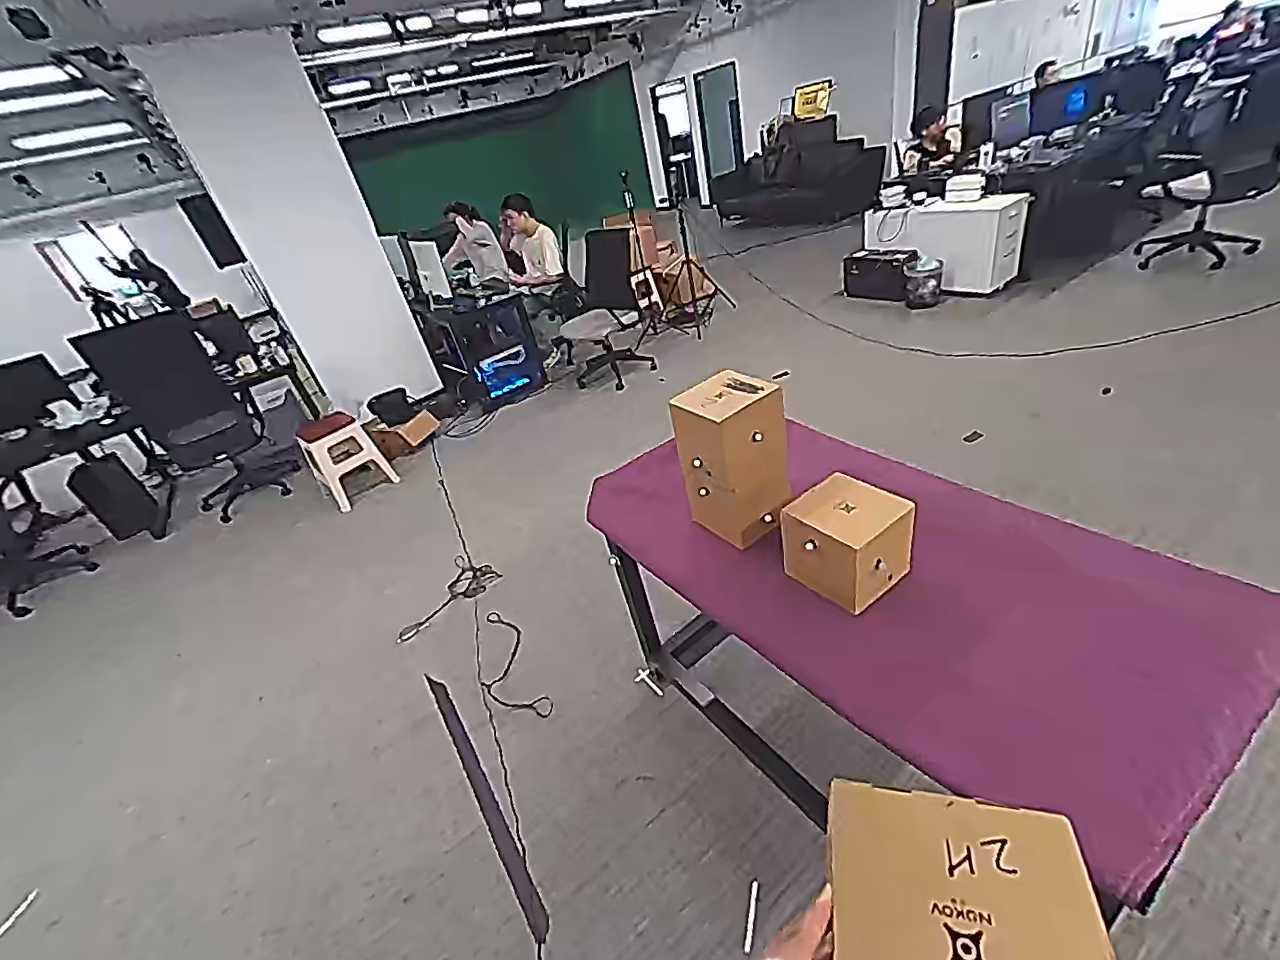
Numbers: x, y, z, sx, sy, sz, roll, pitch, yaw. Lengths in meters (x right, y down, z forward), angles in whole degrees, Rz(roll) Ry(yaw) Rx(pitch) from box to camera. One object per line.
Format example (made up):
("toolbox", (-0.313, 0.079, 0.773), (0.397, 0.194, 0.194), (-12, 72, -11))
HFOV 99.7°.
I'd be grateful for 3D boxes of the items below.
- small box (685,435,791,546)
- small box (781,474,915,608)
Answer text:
("small box", (0.229, 0.024, 1.250), (0.168, 0.176, 0.179), (-30, 37, -23))
("small box", (0.398, 0.120, 1.042), (0.168, 0.176, 0.179), (-30, 35, -23))
